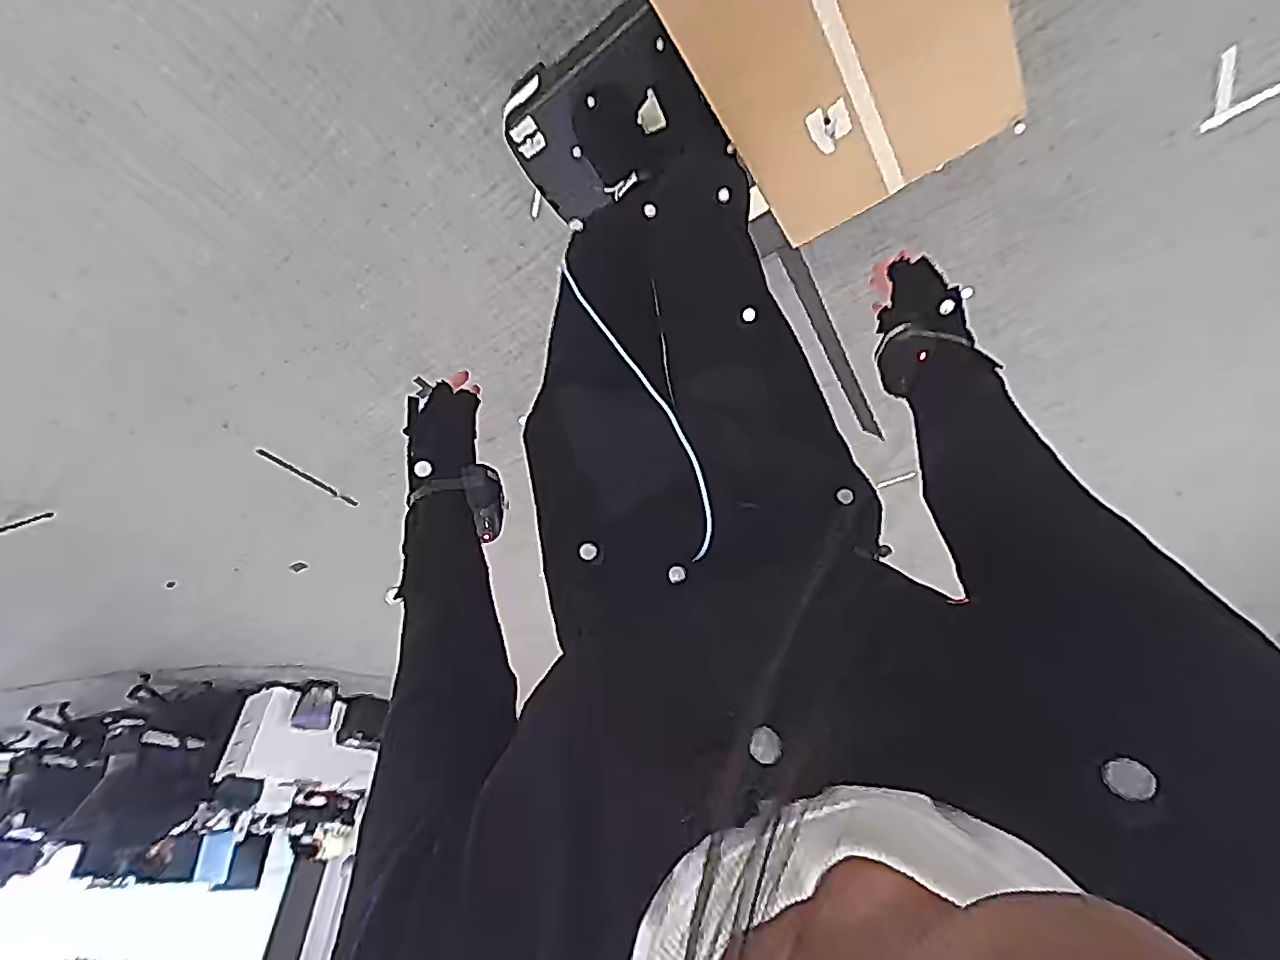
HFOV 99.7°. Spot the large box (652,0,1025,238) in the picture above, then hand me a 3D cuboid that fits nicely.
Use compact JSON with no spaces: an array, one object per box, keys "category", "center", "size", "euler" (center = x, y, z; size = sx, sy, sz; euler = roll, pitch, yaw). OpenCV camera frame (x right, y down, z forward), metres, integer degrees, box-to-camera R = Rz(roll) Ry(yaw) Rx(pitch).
[{"category":"large box","center":[0.250,-0.636,0.719],"size":[0.320,0.320,0.408],"euler":[-20,139,33]}]
